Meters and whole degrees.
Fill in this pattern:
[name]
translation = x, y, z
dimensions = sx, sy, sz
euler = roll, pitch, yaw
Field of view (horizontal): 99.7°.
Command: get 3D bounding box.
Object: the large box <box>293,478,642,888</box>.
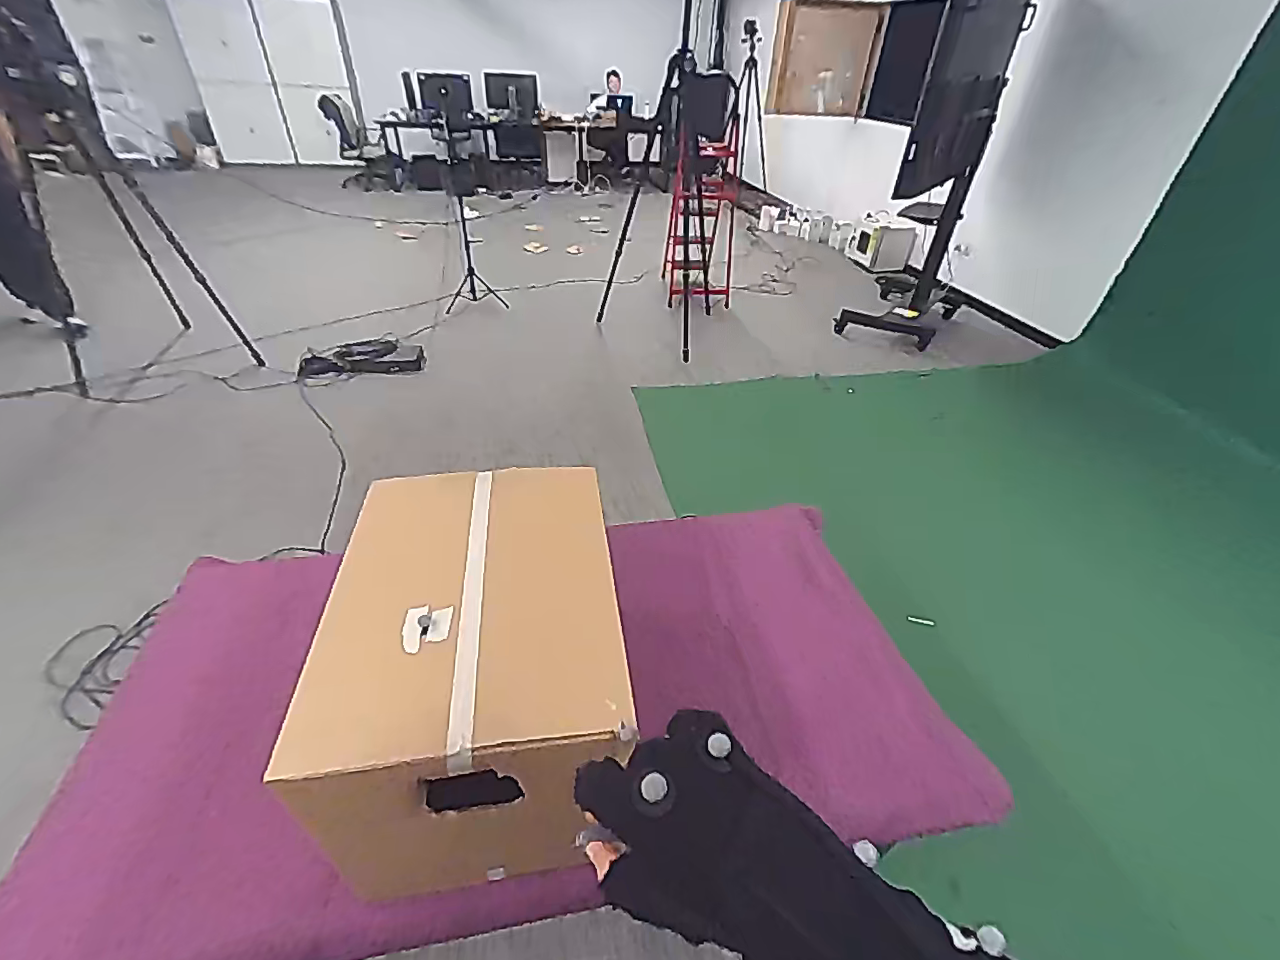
[large box]
translation = -0.191, 0.241, 0.726
dimensions = 0.320, 0.320, 0.408
euler = -3, 39, -9
